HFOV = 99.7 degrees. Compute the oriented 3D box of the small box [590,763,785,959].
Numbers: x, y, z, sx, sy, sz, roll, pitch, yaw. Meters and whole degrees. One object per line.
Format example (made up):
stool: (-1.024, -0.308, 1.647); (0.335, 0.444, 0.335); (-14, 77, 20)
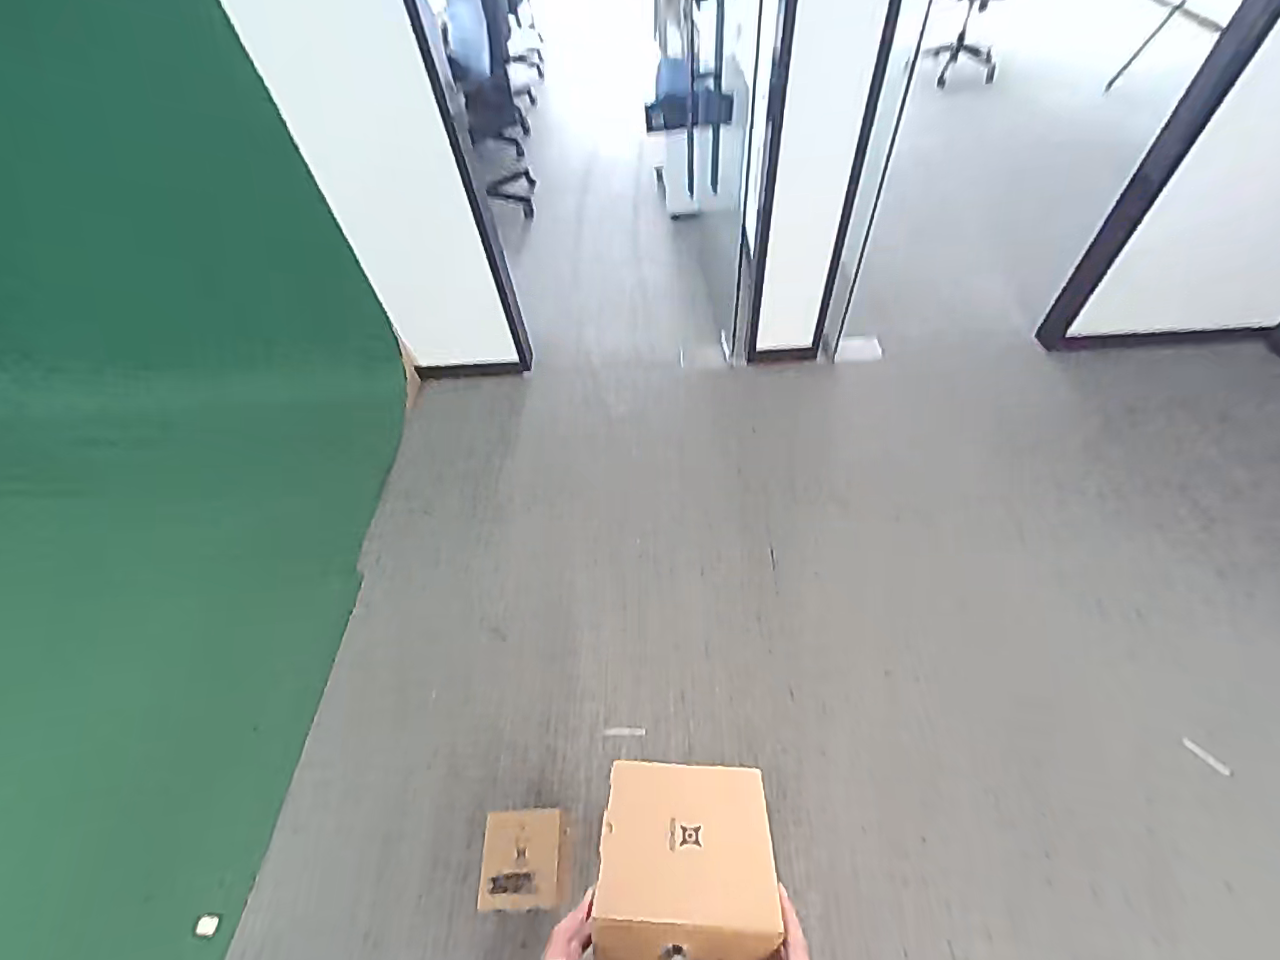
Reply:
small box: (0.048, 0.439, 0.582); (0.179, 0.176, 0.168); (0, 24, 4)
